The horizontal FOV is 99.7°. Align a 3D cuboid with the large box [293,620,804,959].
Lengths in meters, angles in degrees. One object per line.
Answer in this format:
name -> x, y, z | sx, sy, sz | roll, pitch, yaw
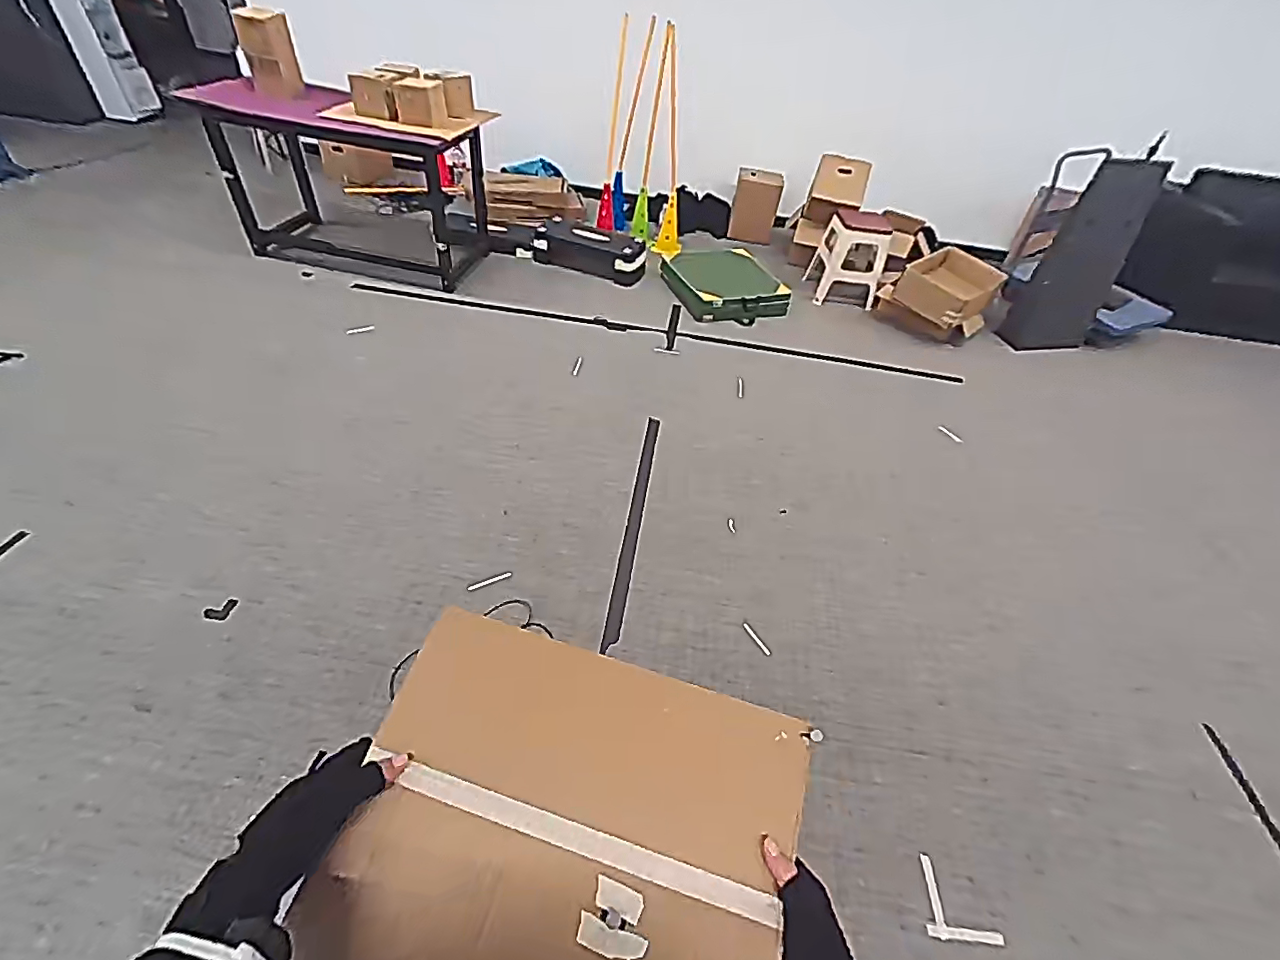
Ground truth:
large box -> -0.066, 0.403, 0.630 | 0.408, 0.320, 0.320 | 15, 61, 9
